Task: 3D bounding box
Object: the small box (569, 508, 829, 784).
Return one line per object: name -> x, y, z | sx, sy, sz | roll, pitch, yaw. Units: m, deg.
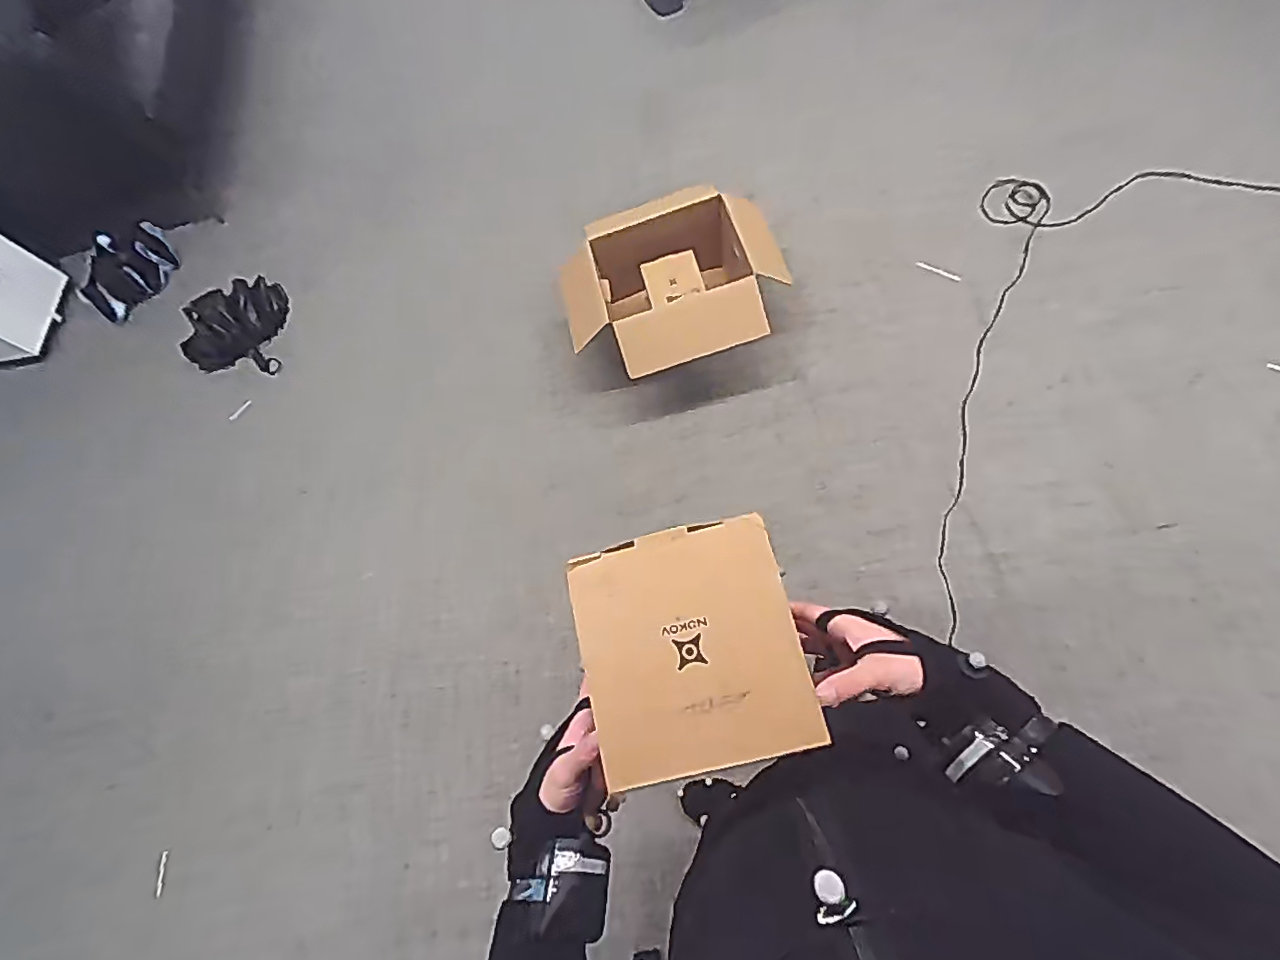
small box -> 0.047, 0.141, 0.485 | 0.168, 0.176, 0.179 | -15, 74, 4
